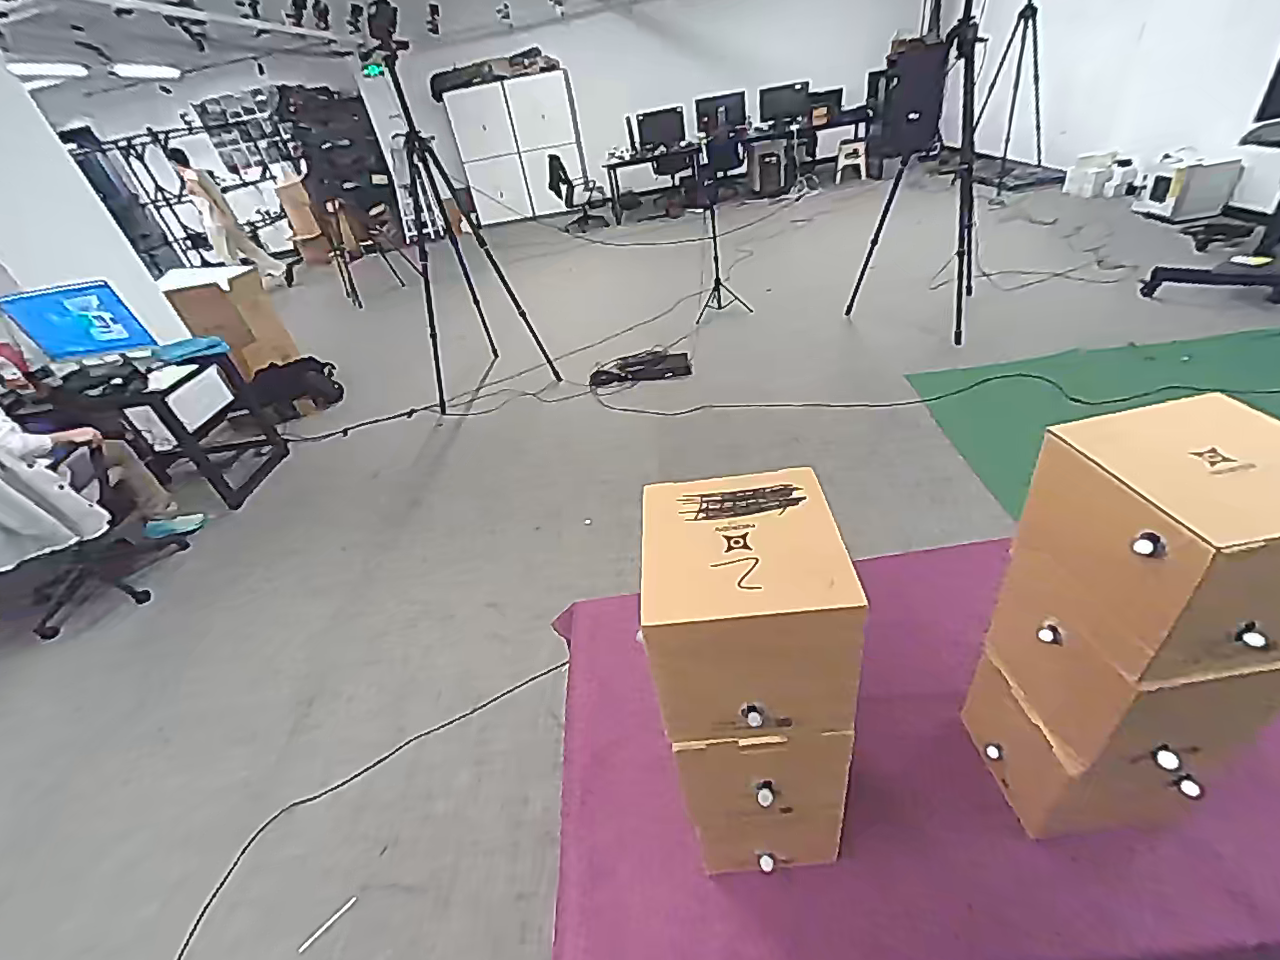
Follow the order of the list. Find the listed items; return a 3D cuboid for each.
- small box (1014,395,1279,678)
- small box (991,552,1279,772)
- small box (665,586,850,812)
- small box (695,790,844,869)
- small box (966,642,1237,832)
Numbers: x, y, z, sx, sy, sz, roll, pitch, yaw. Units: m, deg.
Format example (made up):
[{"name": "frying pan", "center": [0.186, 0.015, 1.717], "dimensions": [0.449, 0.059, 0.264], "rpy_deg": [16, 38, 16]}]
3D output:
[{"name": "small box", "center": [0.487, 0.048, 0.493], "dimensions": [0.168, 0.176, 0.179], "rpy_deg": [-12, 37, 1]}, {"name": "small box", "center": [0.518, 0.179, 0.583], "dimensions": [0.168, 0.176, 0.179], "rpy_deg": [-11, 36, 3]}, {"name": "small box", "center": [0.123, 0.248, 0.604], "dimensions": [0.168, 0.176, 0.179], "rpy_deg": [-8, 37, 5]}, {"name": "small box", "center": [0.153, 0.372, 0.706], "dimensions": [0.168, 0.176, 0.179], "rpy_deg": [-8, 37, 5]}, {"name": "small box", "center": [0.547, 0.310, 0.676], "dimensions": [0.179, 0.176, 0.168], "rpy_deg": [-10, 35, 3]}]
